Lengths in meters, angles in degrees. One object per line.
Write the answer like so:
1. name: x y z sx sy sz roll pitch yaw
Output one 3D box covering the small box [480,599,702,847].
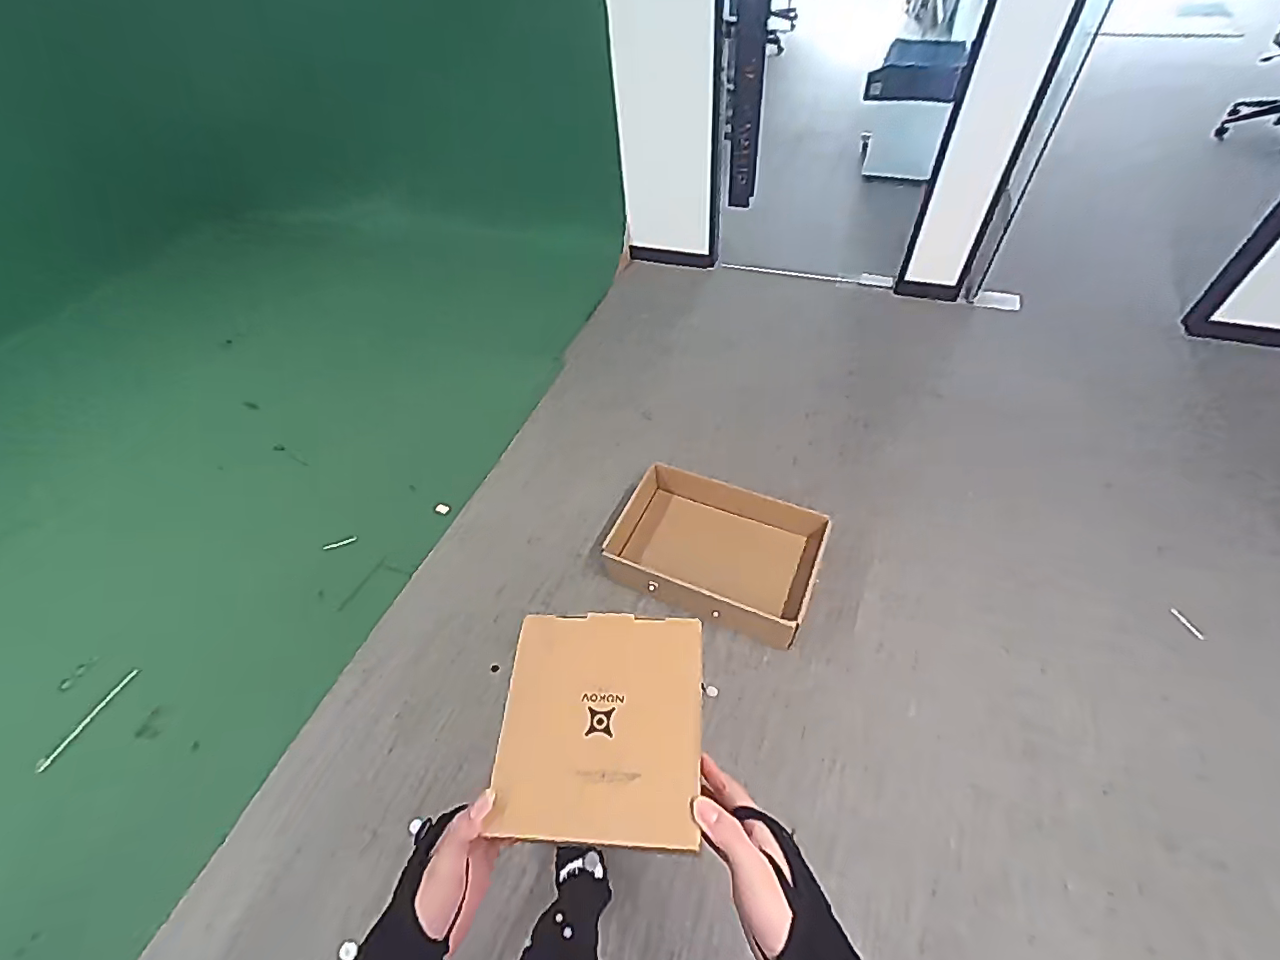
1. small box: -0.027 0.230 0.509 0.168 0.176 0.179 0 54 7
